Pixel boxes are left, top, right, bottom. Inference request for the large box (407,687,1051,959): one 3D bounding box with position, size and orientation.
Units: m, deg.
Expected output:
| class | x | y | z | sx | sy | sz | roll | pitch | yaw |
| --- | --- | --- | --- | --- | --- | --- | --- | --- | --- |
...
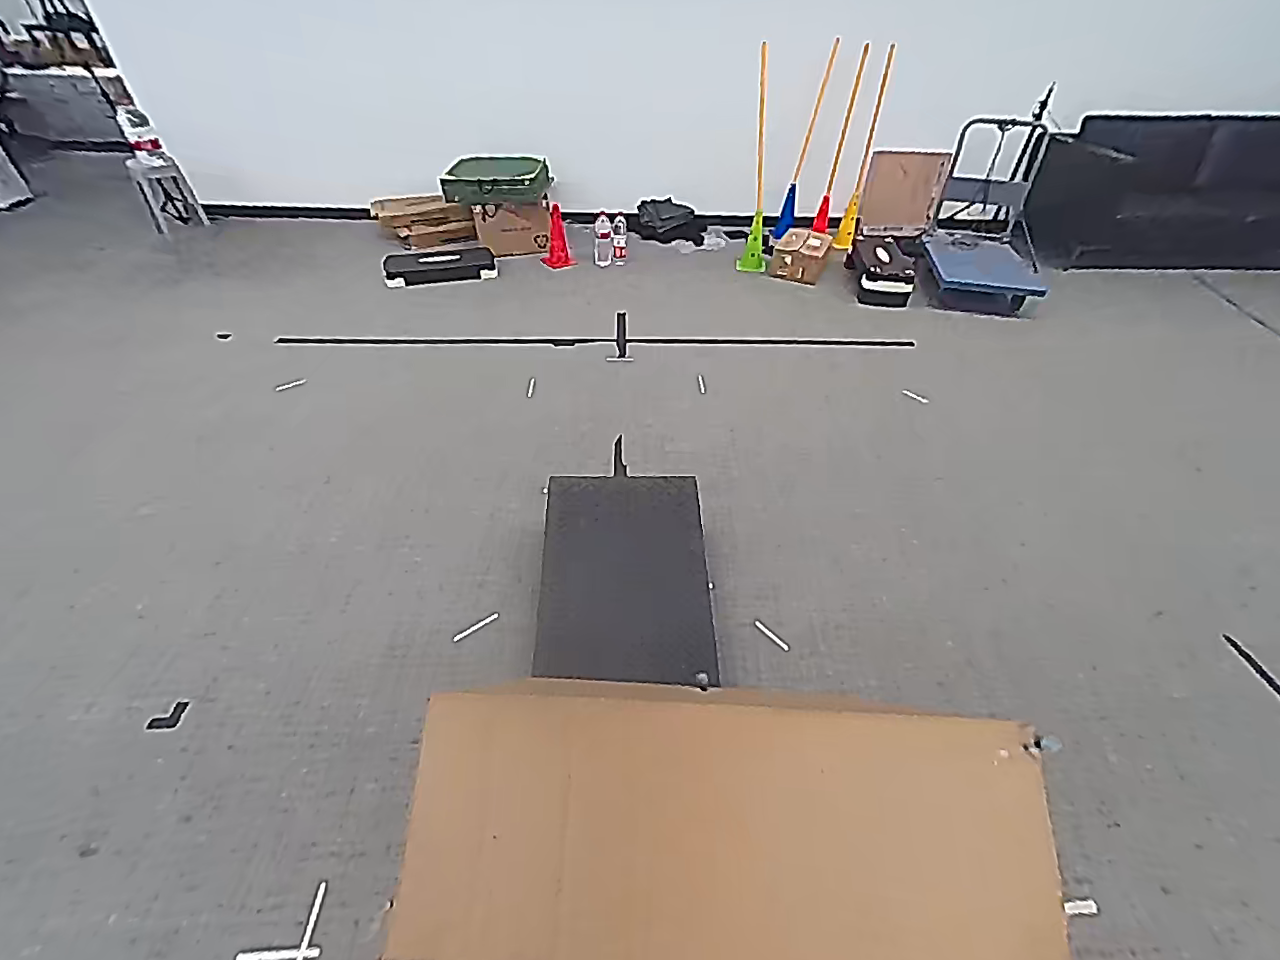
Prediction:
| class | x | y | z | sx | sy | sz | roll | pitch | yaw |
| --- | --- | --- | --- | --- | --- | --- | --- | --- | --- |
| large box | 0.051 | 0.351 | 0.470 | 0.408 | 0.320 | 0.320 | 2 | 73 | 0 |
